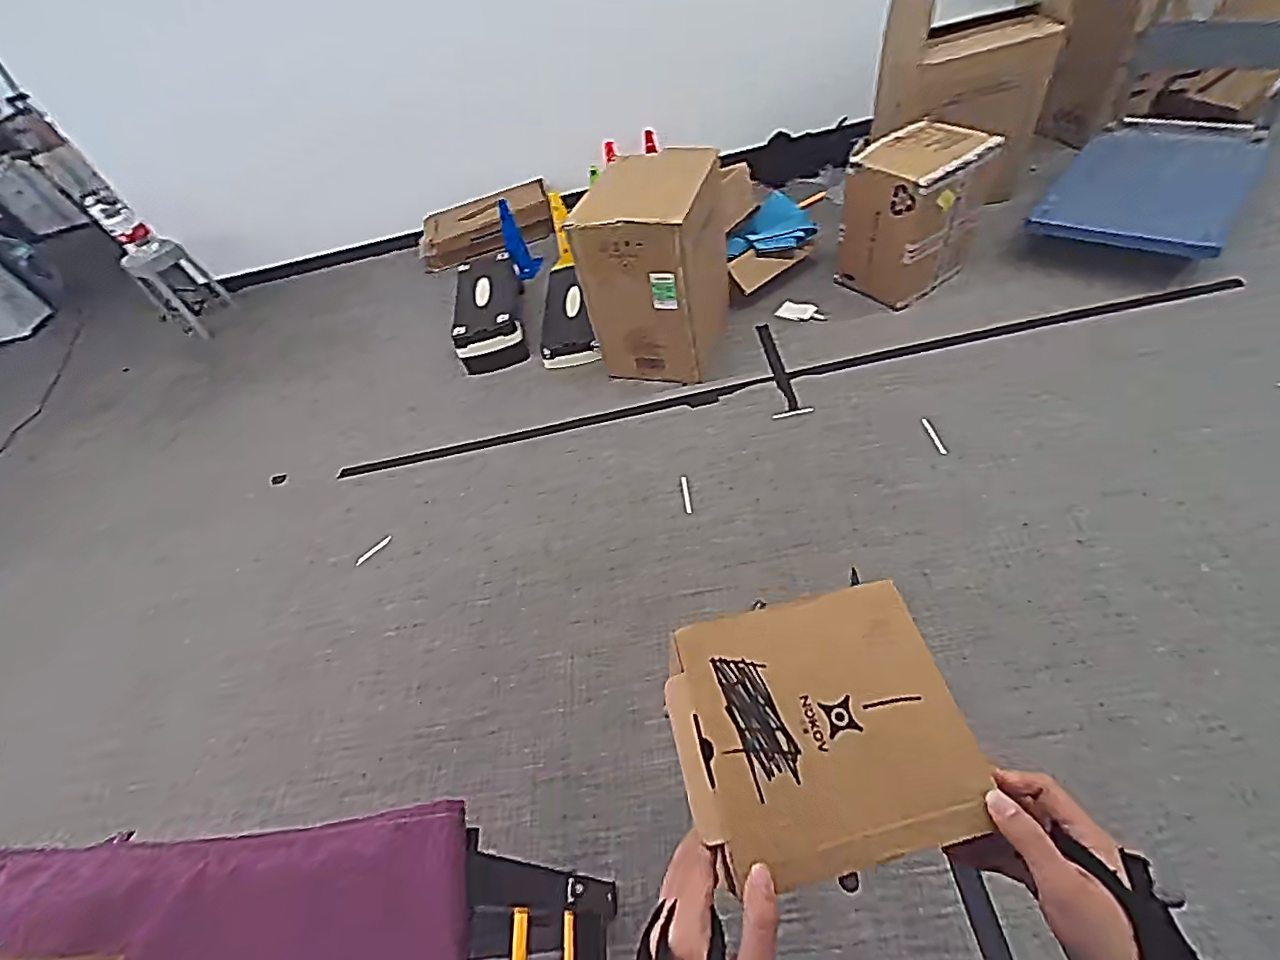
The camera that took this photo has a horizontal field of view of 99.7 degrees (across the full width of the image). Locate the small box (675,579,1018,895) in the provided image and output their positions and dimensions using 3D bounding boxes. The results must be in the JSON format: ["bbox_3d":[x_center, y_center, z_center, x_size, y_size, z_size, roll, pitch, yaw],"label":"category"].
[{"bbox_3d":[0.130,0.201,0.425,0.179,0.176,0.168,-11,58,-5],"label":"small box"}]
